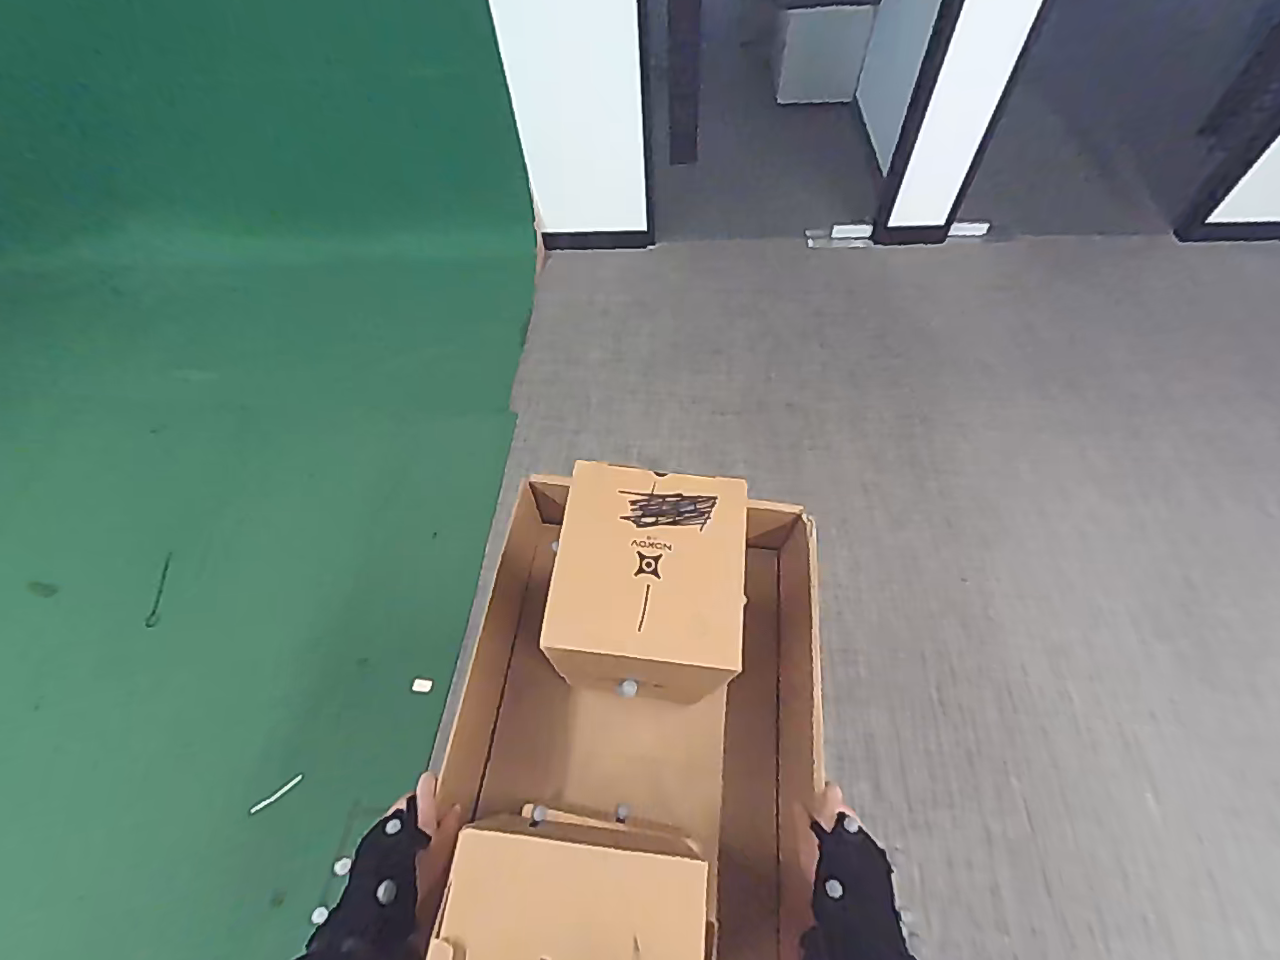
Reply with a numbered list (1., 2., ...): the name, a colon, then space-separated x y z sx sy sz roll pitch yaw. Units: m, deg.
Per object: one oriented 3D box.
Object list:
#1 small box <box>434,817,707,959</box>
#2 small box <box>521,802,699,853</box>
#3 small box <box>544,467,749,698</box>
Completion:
1. small box: -0.051 0.364 0.410 0.179 0.176 0.168 7 62 0
2. small box: -0.045 0.441 0.553 0.179 0.176 0.168 10 61 4
3. small box: 0.009 0.110 0.545 0.168 0.176 0.179 7 63 2
